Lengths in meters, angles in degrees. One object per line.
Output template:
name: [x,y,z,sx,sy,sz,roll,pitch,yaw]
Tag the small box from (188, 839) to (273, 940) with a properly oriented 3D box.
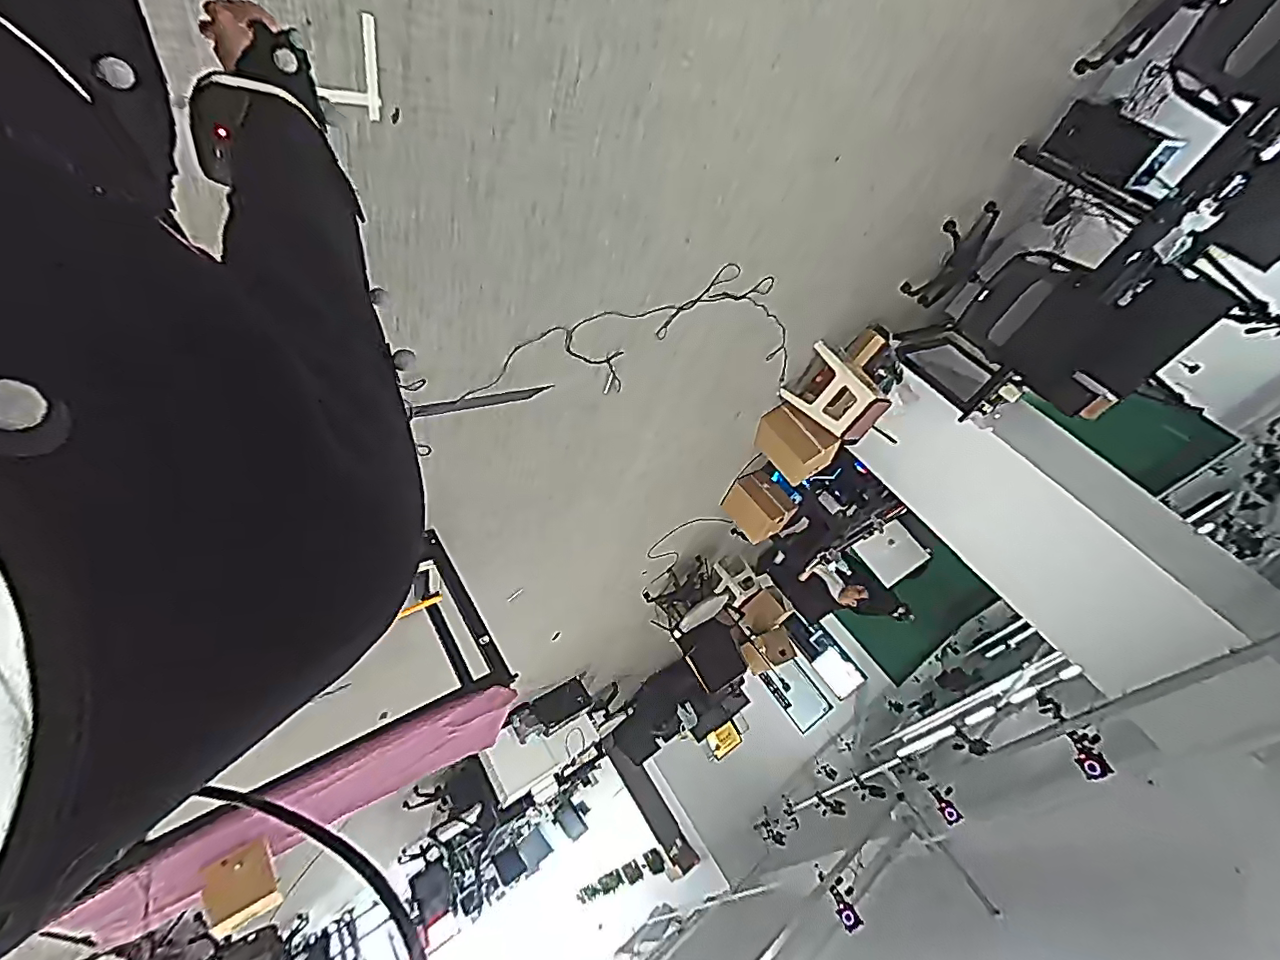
small box: [-1.208,1.204,1.599,0.168,0.176,0.179,-16,146,-40]
